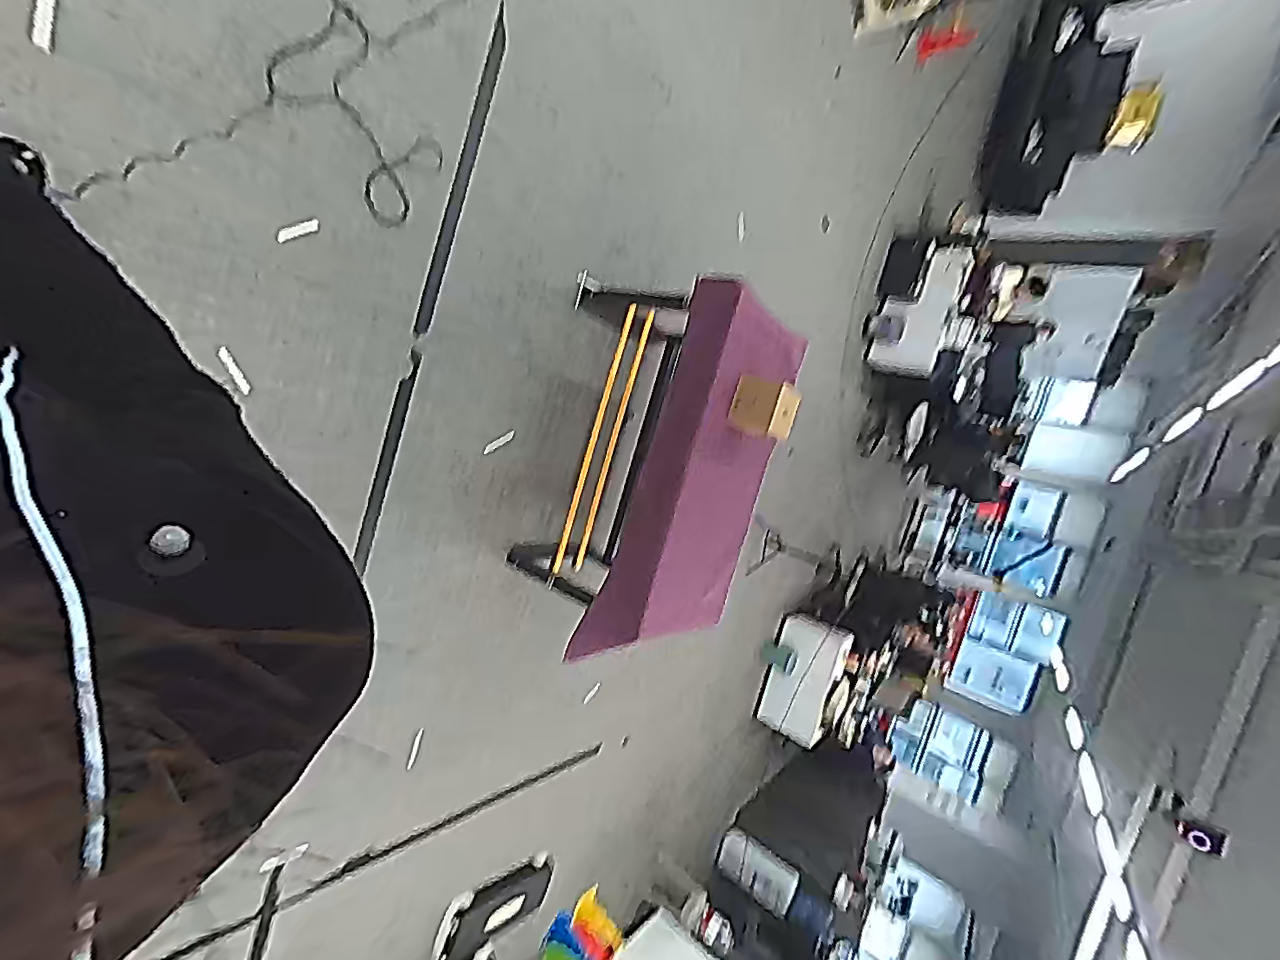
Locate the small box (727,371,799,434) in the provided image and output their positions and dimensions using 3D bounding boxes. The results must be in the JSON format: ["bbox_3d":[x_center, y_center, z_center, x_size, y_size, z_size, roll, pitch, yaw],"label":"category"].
[{"bbox_3d":[0.430,-0.275,1.901,0.179,0.176,0.168,14,94,-55],"label":"small box"}]
